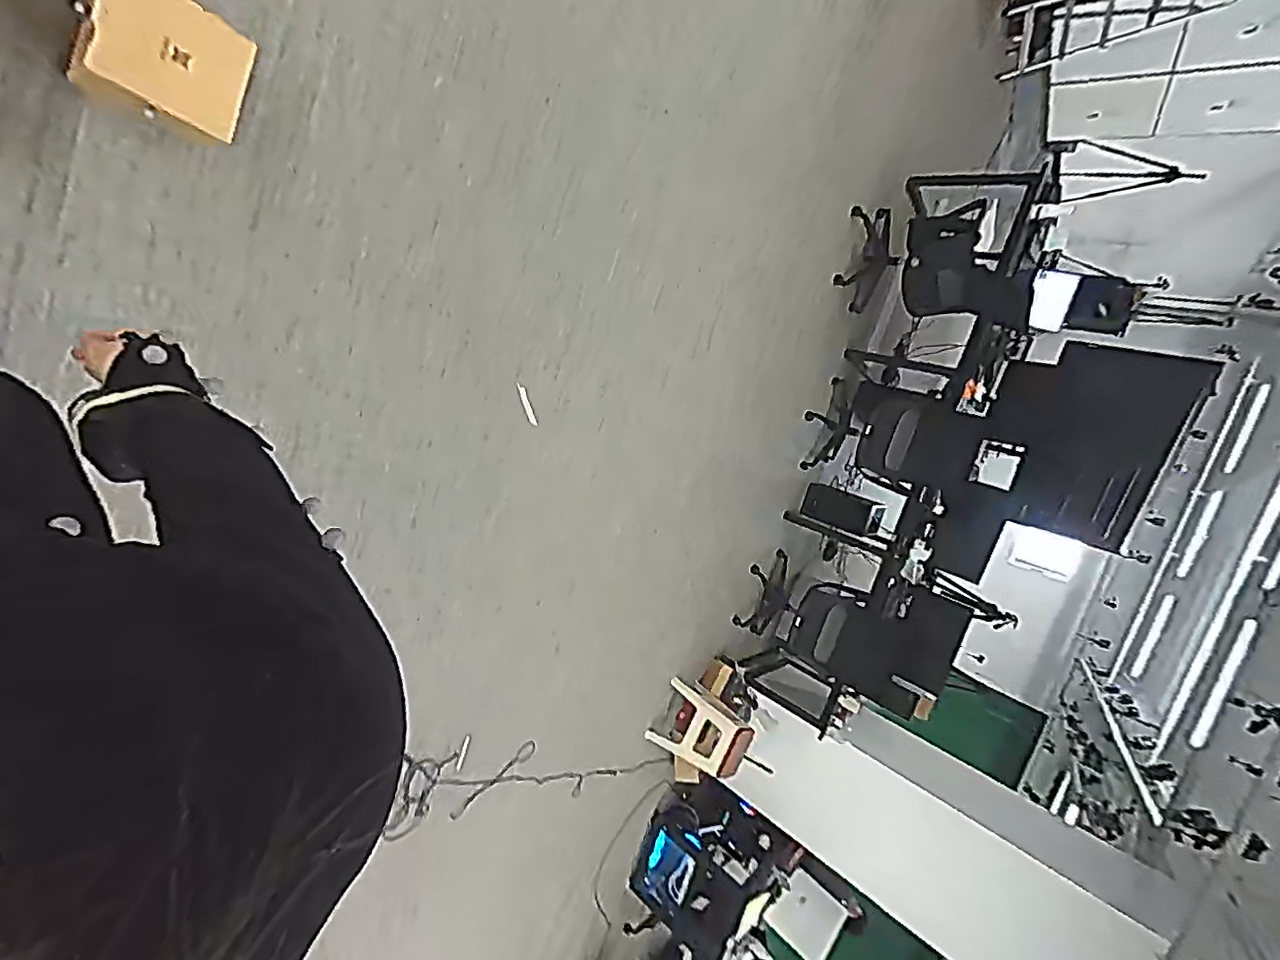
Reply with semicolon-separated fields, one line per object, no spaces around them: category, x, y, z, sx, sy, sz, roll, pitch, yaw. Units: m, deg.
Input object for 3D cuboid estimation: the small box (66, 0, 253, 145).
small box;-0.768;-0.669;0.865;0.179;0.176;0.168;14;97;-53
